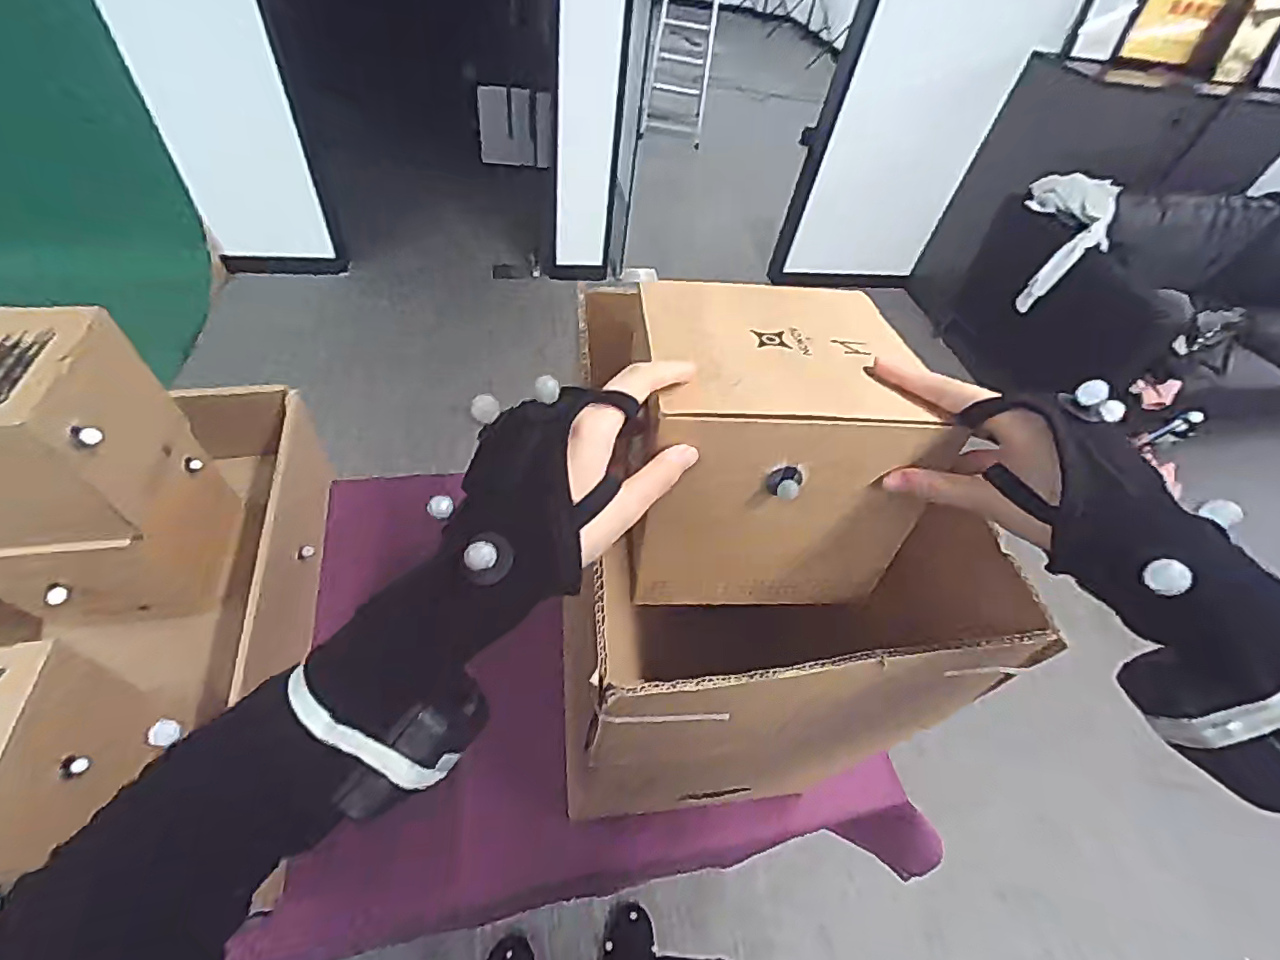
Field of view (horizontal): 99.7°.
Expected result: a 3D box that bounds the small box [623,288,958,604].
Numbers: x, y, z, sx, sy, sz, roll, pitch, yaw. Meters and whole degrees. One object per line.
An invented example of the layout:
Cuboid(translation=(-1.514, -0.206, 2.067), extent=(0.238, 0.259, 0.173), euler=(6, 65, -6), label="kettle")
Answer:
Cuboid(translation=(0.078, -0.023, 0.397), extent=(0.179, 0.176, 0.168), euler=(2, 43, -6), label="small box")

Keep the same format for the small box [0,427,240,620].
Cuboid(translation=(-0.630, 0.058, 0.658), extent=(0.168, 0.176, 0.179), euler=(-4, 52, -12), label="small box")
